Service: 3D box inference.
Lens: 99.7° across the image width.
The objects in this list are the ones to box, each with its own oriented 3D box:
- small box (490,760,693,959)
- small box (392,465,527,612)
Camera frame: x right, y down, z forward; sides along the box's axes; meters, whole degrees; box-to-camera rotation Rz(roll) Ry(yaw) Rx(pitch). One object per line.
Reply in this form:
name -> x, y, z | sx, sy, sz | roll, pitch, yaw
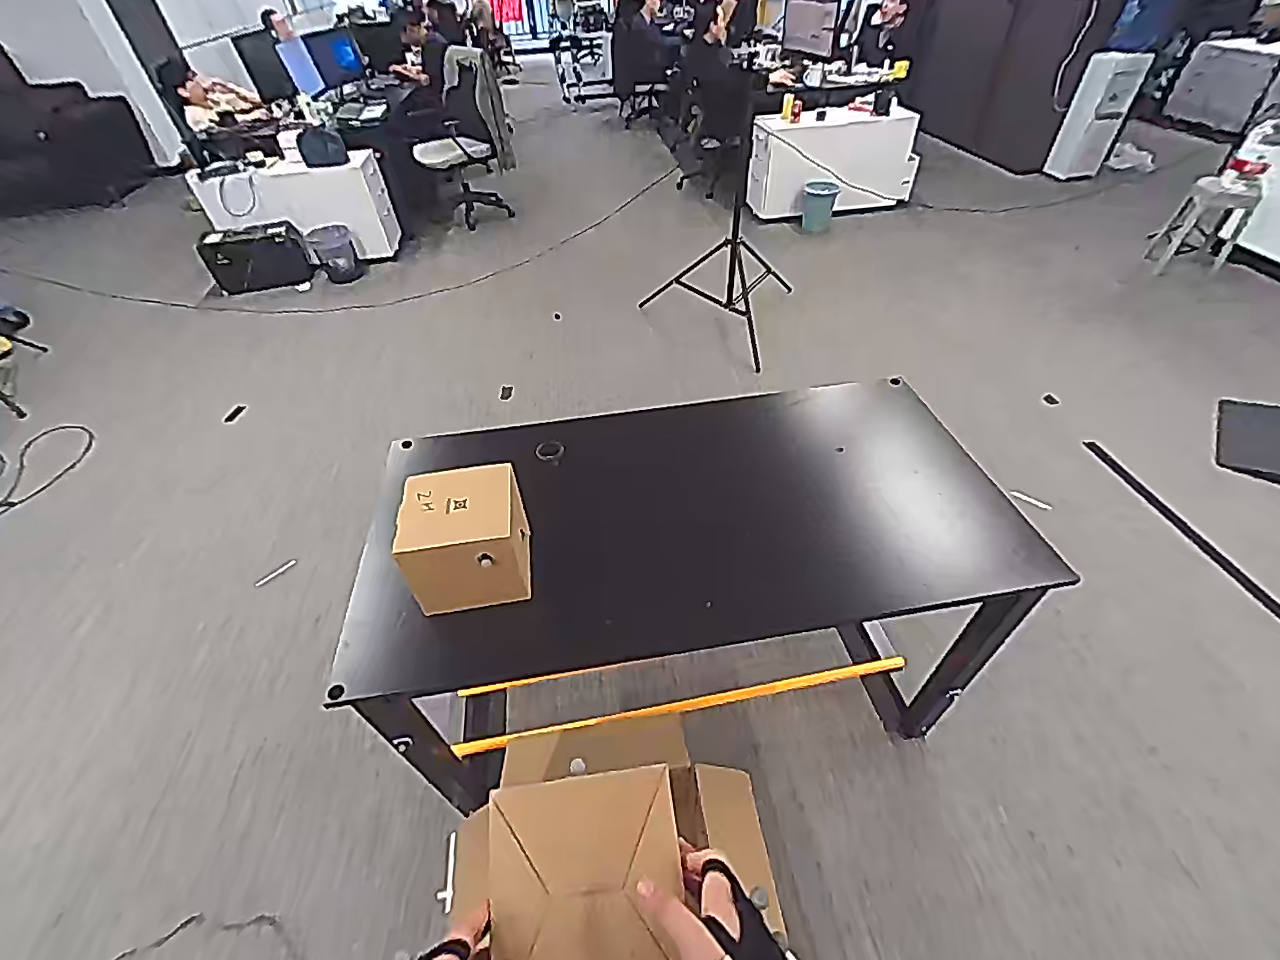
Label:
small box -> -0.045, 0.382, 0.527 | 0.168, 0.176, 0.179 | -7, 63, -3
small box -> -0.286, 0.099, 0.905 | 0.179, 0.176, 0.168 | -8, 44, -5
